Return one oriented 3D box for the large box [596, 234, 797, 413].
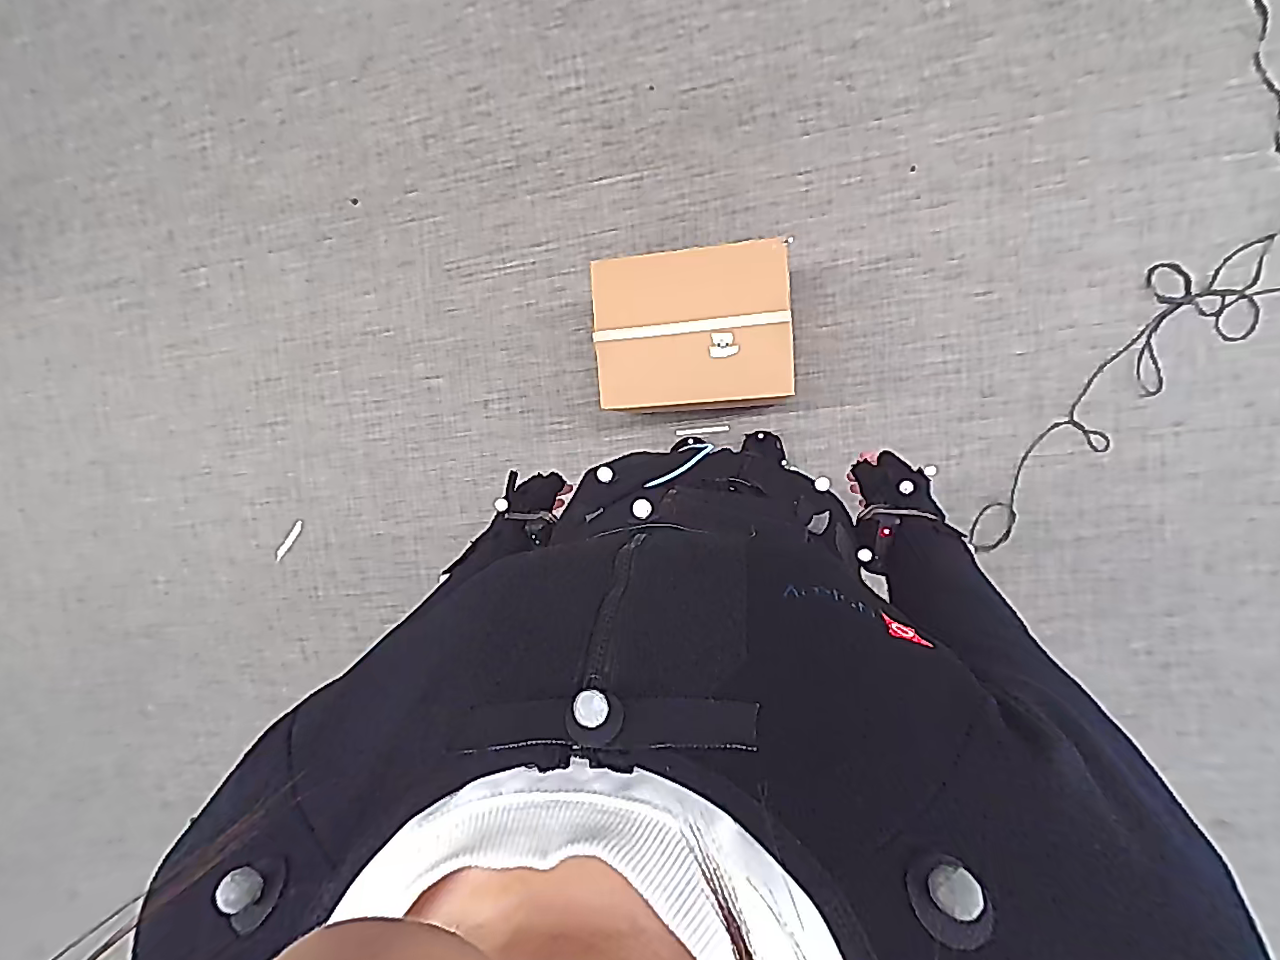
[{"bbox_3d":[0.135,-0.334,1.260,0.408,0.320,0.320,-3,95,10],"label":"large box"}]
